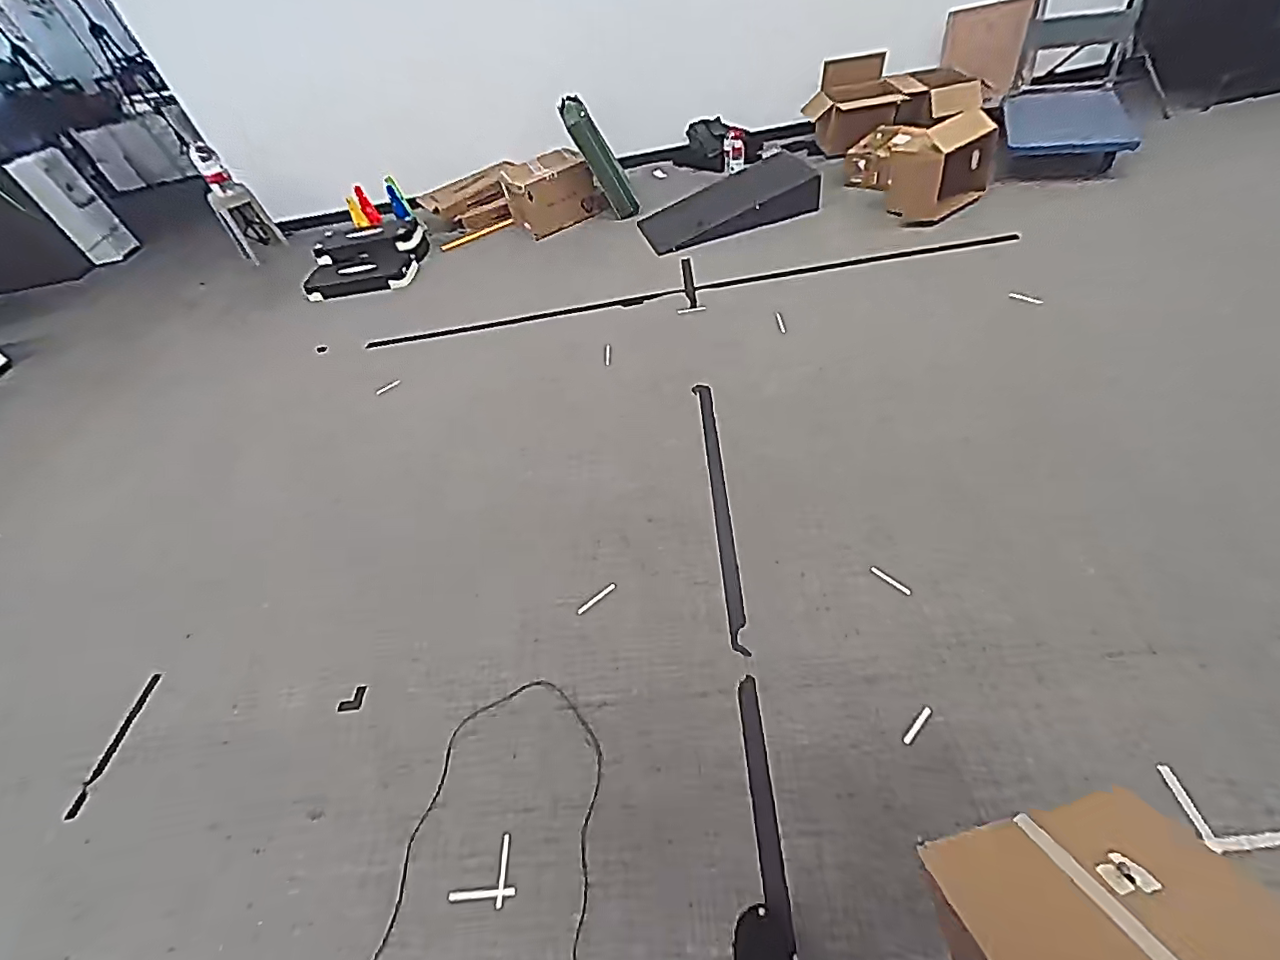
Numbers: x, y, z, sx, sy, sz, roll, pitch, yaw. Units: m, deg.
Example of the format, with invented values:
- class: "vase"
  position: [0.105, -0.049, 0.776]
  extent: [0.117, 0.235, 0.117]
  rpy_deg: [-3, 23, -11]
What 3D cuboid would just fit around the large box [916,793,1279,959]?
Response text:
- class: "large box"
  position: [0.595, 0.650, 0.602]
  extent: [0.320, 0.408, 0.320]
  rpy_deg: [-17, 91, 2]
